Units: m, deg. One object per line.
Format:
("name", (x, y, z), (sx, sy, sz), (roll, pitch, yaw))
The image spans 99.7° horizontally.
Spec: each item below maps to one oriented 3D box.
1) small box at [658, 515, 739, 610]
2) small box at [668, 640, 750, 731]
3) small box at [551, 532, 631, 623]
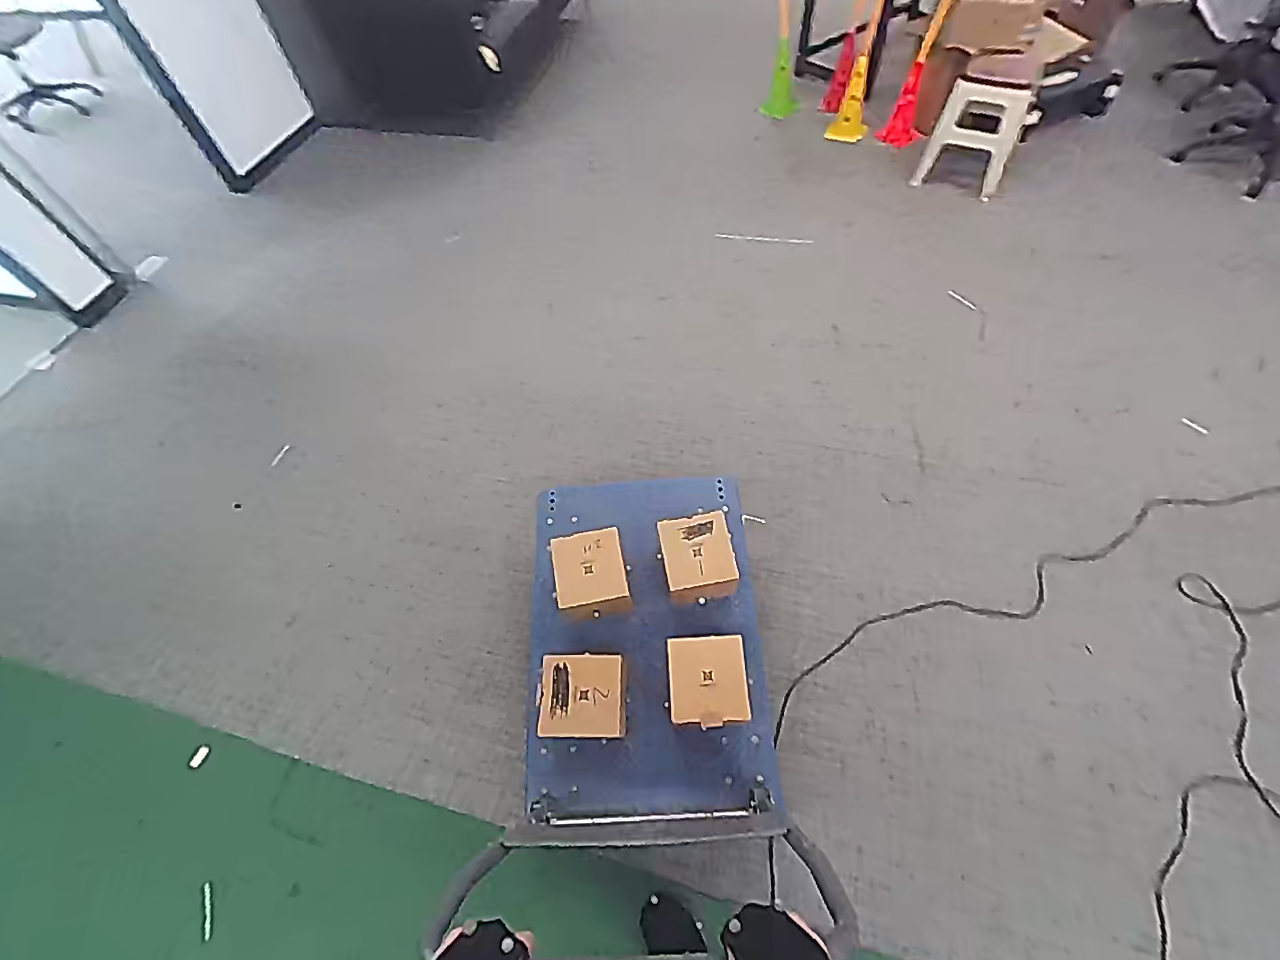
("small box", (0.139, 0.210, 1.351), (0.168, 0.176, 0.179), (-10, 64, -1))
("small box", (0.148, 0.468, 1.226), (0.168, 0.176, 0.179), (-3, 64, 2))
("small box", (-0.118, 0.250, 1.348), (0.168, 0.176, 0.179), (-10, 64, -2))
